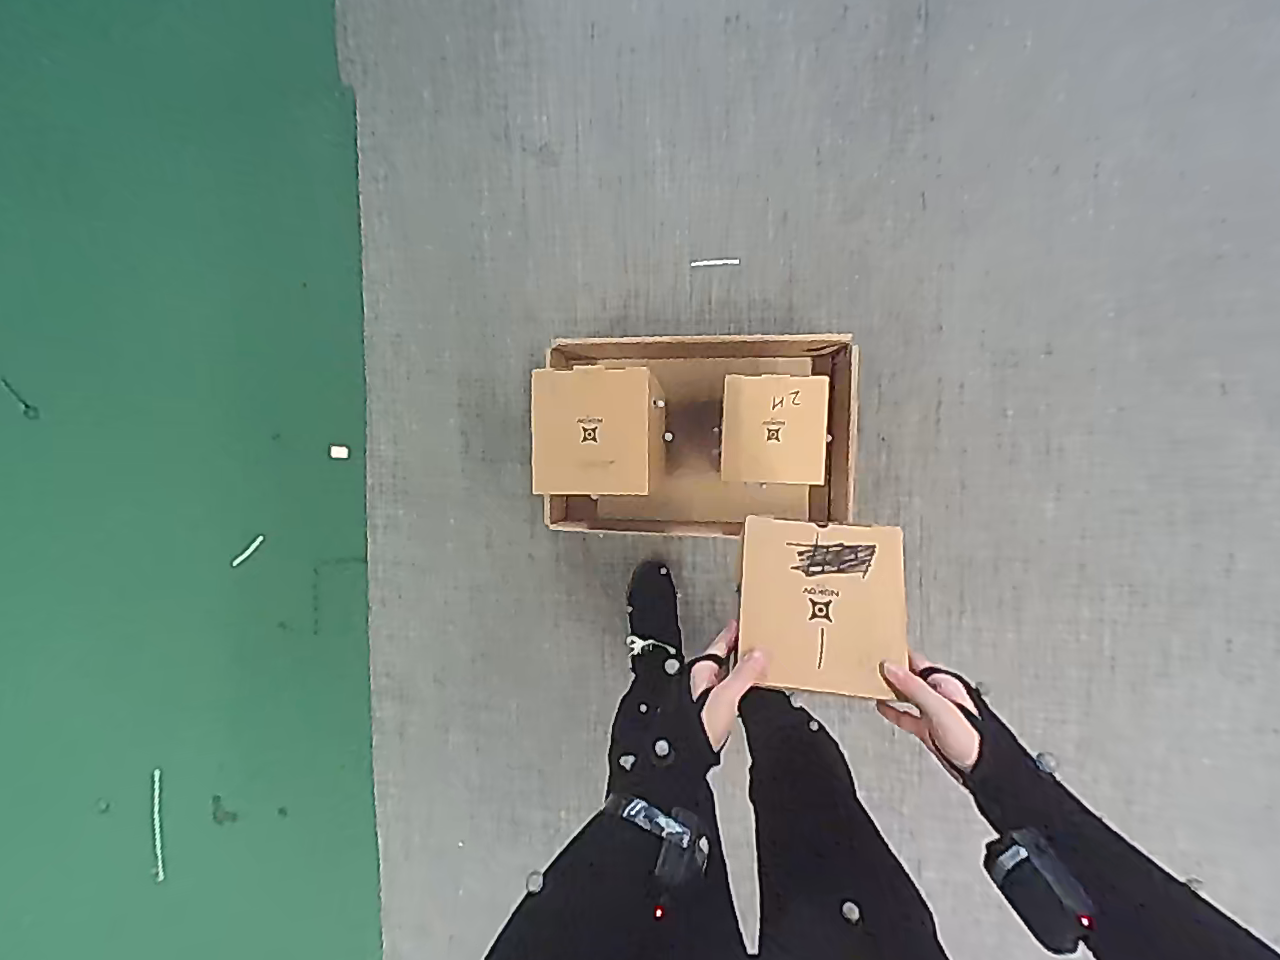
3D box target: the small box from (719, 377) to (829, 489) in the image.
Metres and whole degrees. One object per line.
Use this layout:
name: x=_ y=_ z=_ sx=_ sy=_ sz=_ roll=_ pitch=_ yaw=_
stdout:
small box: x=0.228 y=-0.081 z=0.948 sx=0.168 sy=0.176 sz=0.179 roll=3 pitch=92 yaw=8

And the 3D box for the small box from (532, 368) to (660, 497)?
small box: x=-0.060 y=-0.069 z=0.821 sx=0.168 sy=0.176 sz=0.179 roll=1 pitch=94 yaw=7

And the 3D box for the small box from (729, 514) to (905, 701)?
small box: x=0.194 y=0.153 z=0.633 sx=0.168 sy=0.176 sz=0.179 roll=4 pitch=71 yaw=9

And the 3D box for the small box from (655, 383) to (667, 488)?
small box: x=-0.041 y=-0.077 z=0.983 sx=0.168 sy=0.176 sz=0.179 roll=1 pitch=92 yaw=8
